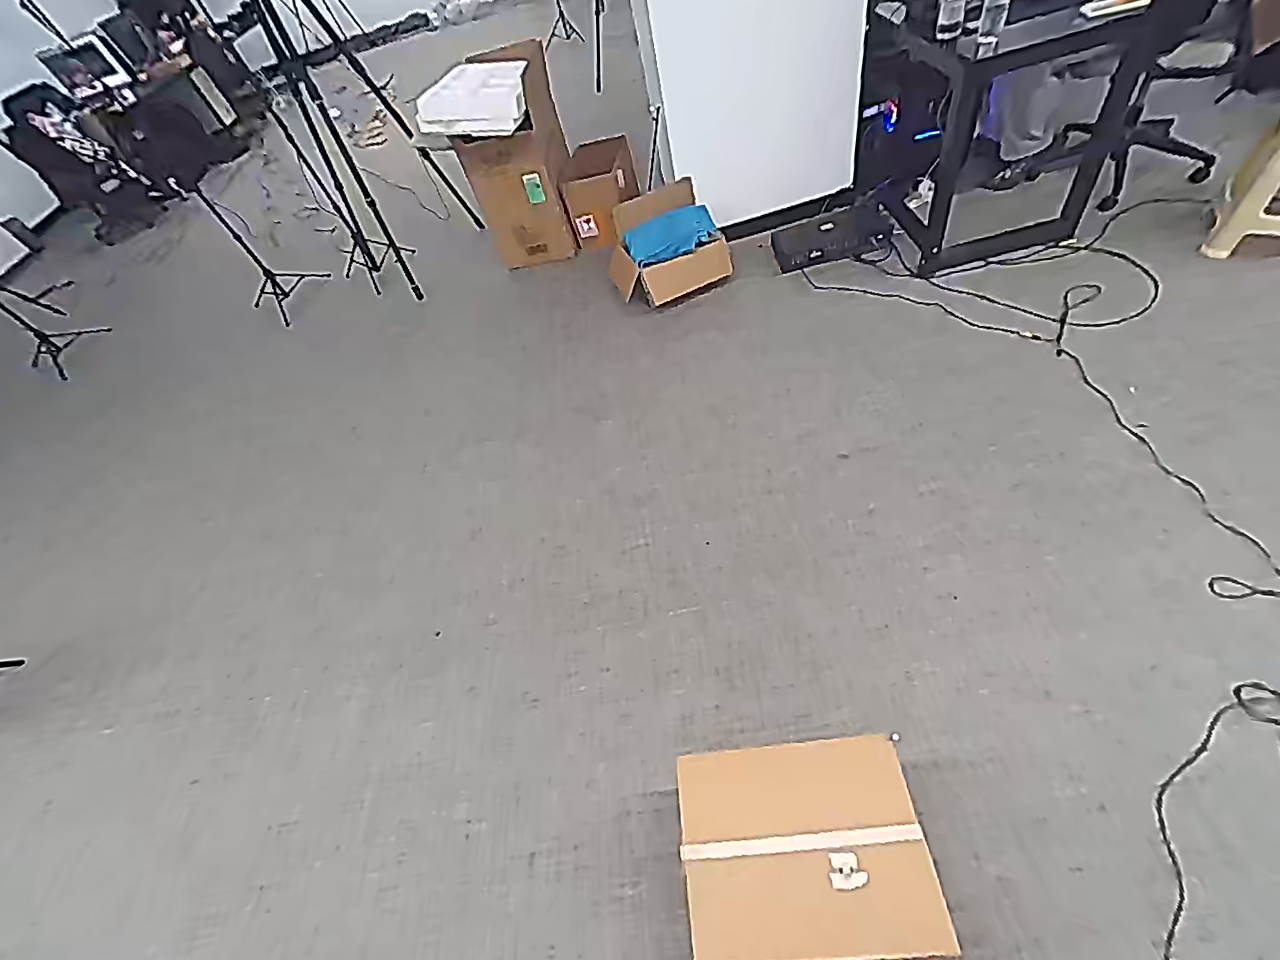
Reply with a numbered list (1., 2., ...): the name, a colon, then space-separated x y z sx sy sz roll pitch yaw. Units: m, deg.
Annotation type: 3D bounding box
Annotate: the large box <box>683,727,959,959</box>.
1. large box: 0.316 0.707 1.050 0.408 0.320 0.320 -11 51 8
